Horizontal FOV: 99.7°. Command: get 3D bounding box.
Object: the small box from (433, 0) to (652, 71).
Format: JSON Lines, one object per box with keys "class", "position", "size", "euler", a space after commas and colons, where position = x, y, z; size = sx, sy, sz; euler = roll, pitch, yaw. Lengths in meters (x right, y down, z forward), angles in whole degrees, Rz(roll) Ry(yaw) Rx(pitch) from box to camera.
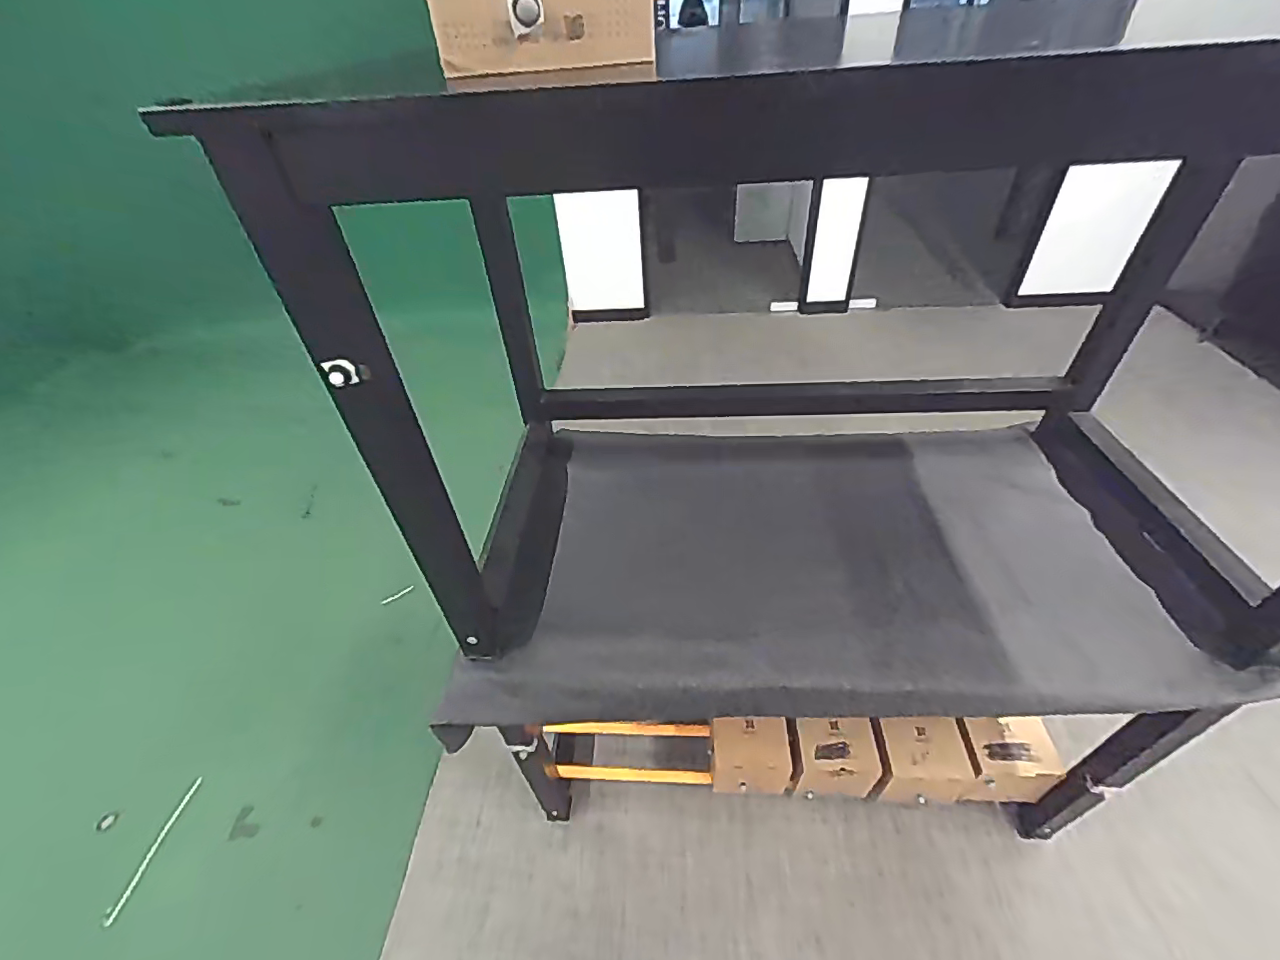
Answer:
{"class": "small box", "position": [-0.086, -0.442, 0.433], "size": [0.168, 0.176, 0.179], "euler": [-9, 43, -4]}
